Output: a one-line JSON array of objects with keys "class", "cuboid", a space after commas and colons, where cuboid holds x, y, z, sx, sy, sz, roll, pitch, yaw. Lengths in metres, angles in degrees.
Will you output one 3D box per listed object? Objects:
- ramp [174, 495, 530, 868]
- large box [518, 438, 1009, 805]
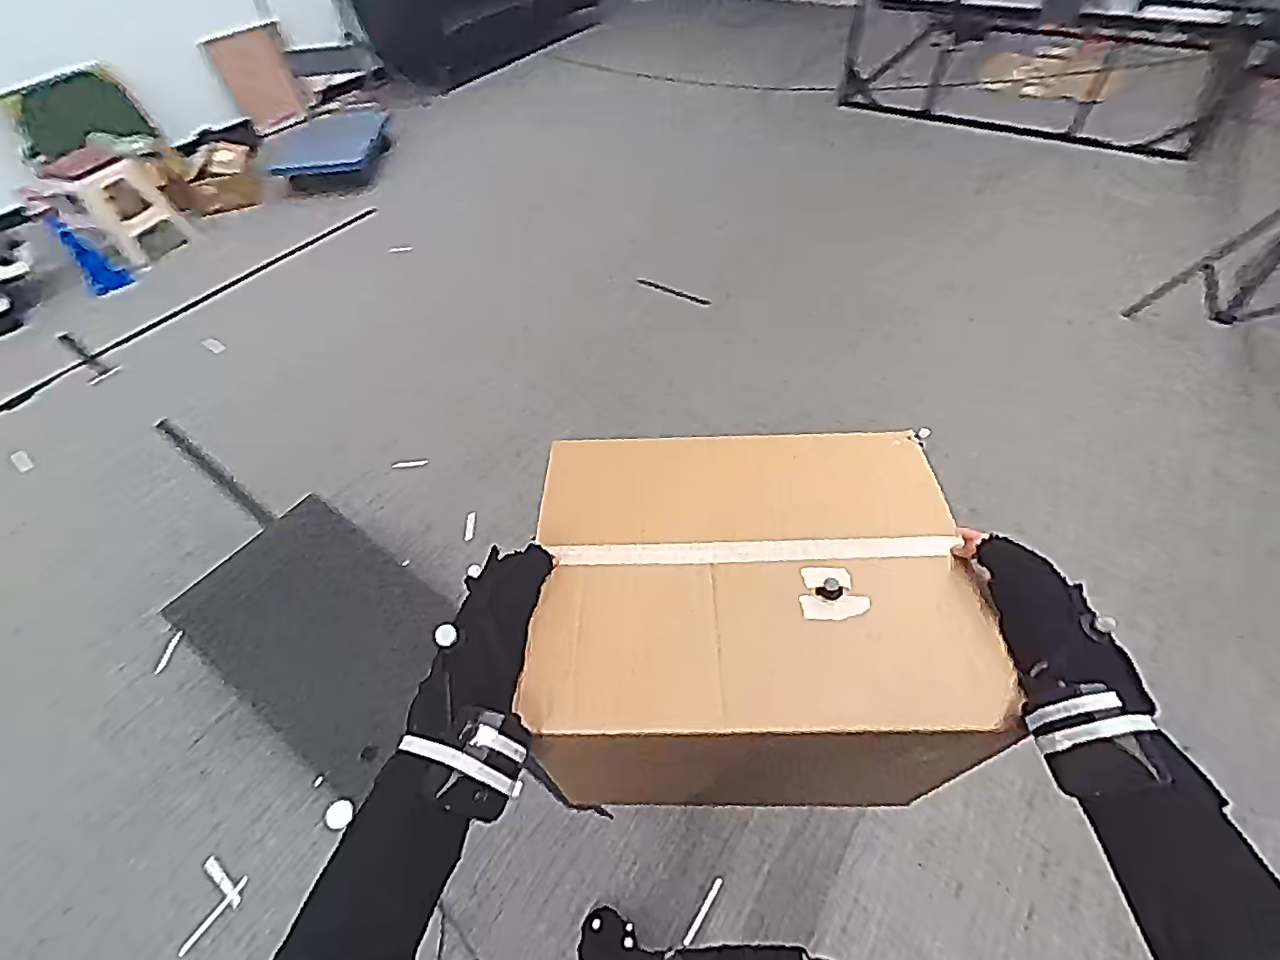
[{"class": "ramp", "cuboid": [-0.734, 0.468, 1.470, 0.991, 0.206, 0.509, 26, 58, 23]}, {"class": "large box", "cuboid": [0.100, 0.174, 0.640, 0.408, 0.320, 0.320, -2, 50, 2]}]
